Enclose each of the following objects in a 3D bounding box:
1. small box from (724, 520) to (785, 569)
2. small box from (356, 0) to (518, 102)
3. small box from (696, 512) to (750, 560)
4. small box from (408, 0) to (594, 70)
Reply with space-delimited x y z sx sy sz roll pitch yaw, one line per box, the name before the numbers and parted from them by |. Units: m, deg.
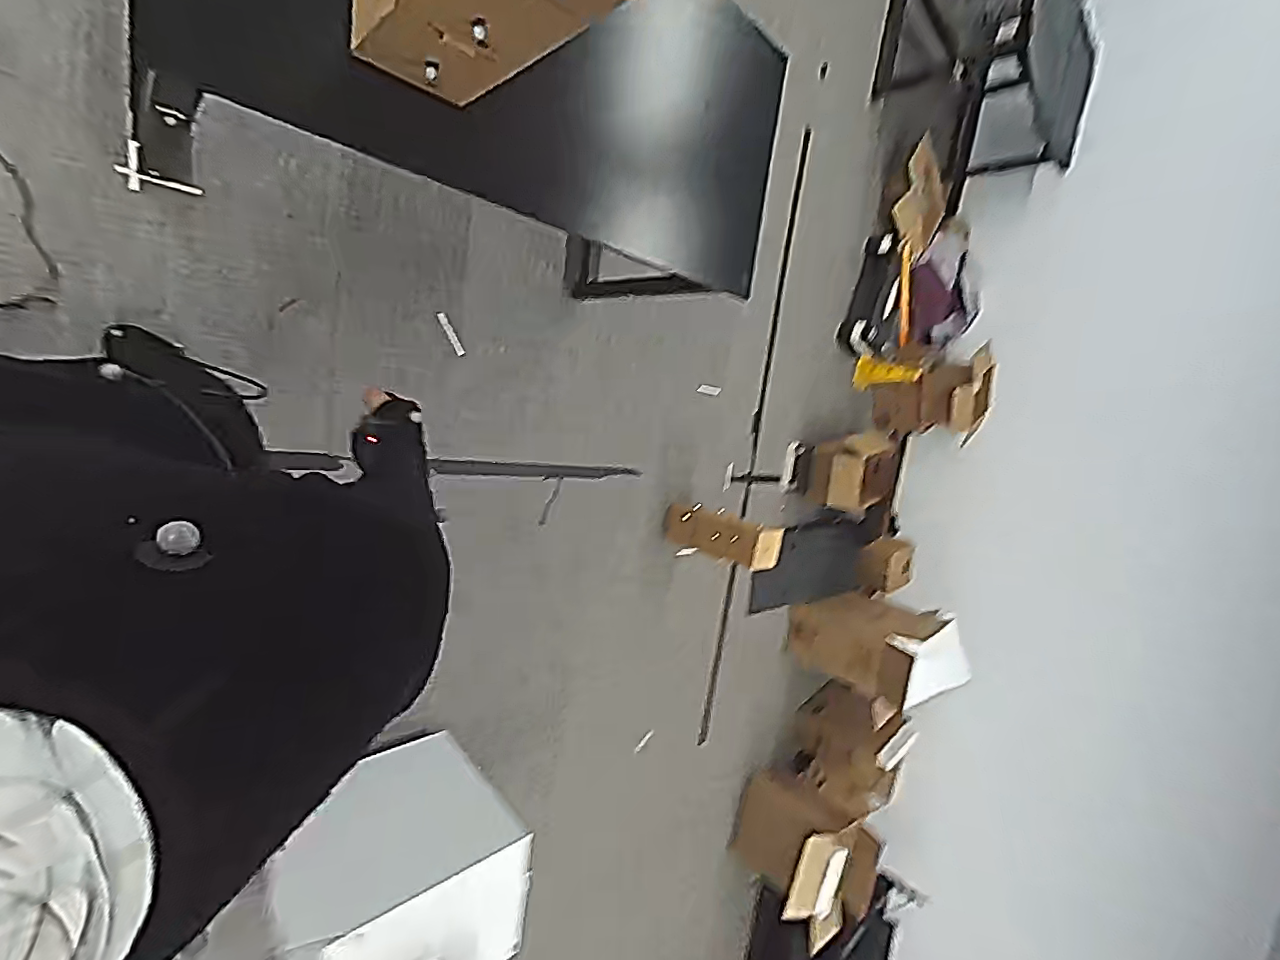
small box | 0.487 0.268 2.305 0.179 0.176 0.168 3 101 -44
small box | -0.271 -0.655 0.732 0.168 0.176 0.179 -3 104 -44
small box | 0.370 0.244 2.416 0.168 0.176 0.179 0 103 -44
small box | -0.158 -0.623 0.616 0.168 0.176 0.179 -2 103 -43
